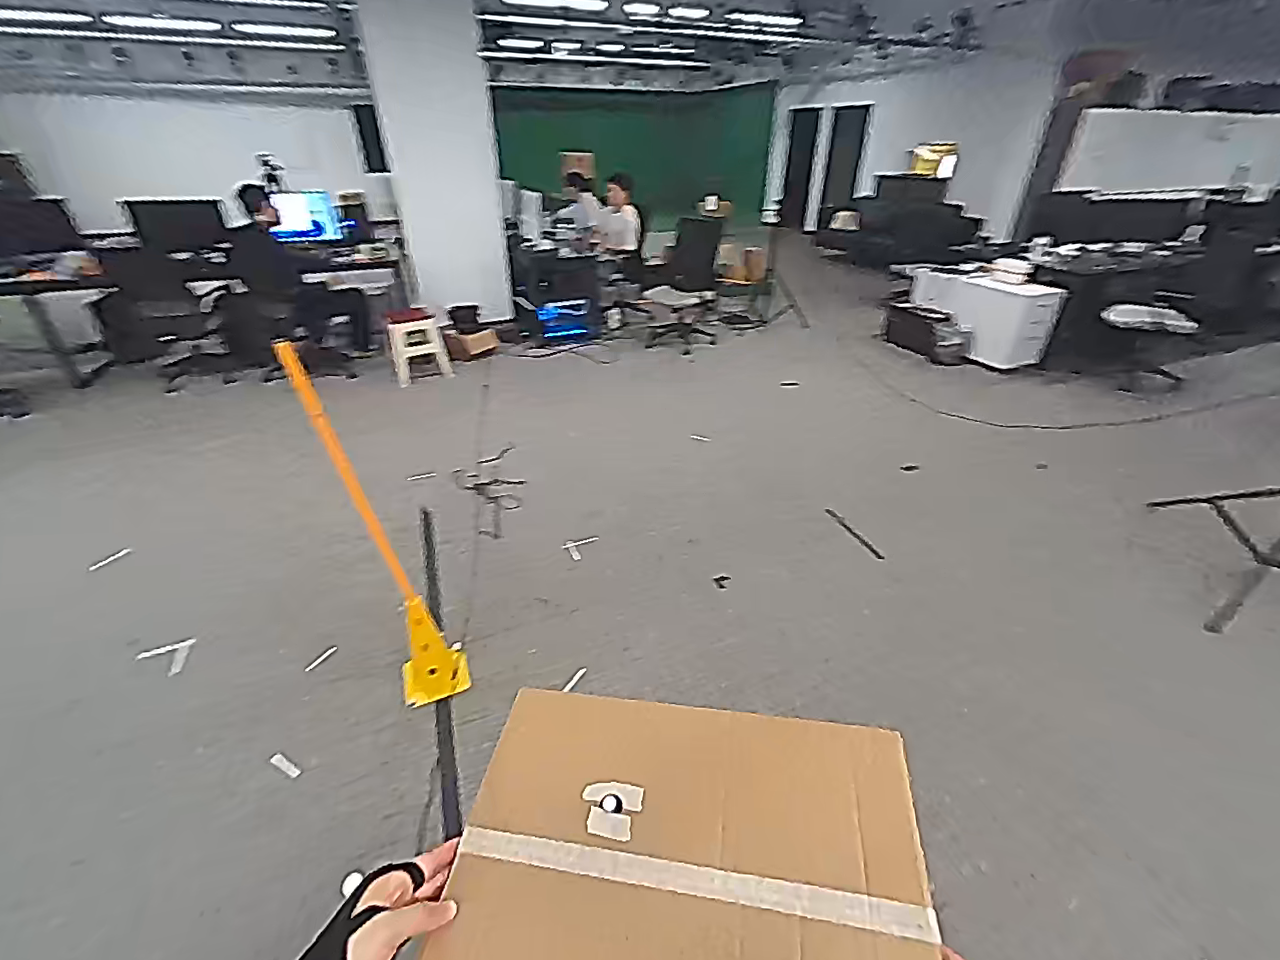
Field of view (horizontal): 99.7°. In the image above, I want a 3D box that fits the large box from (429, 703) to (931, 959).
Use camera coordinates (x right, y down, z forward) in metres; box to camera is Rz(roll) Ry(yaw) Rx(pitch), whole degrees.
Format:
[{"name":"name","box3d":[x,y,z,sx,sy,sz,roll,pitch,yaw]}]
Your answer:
[{"name":"large box","box3d":[0.053,0.464,0.560,0.408,0.320,0.320,-1,37,12]}]
